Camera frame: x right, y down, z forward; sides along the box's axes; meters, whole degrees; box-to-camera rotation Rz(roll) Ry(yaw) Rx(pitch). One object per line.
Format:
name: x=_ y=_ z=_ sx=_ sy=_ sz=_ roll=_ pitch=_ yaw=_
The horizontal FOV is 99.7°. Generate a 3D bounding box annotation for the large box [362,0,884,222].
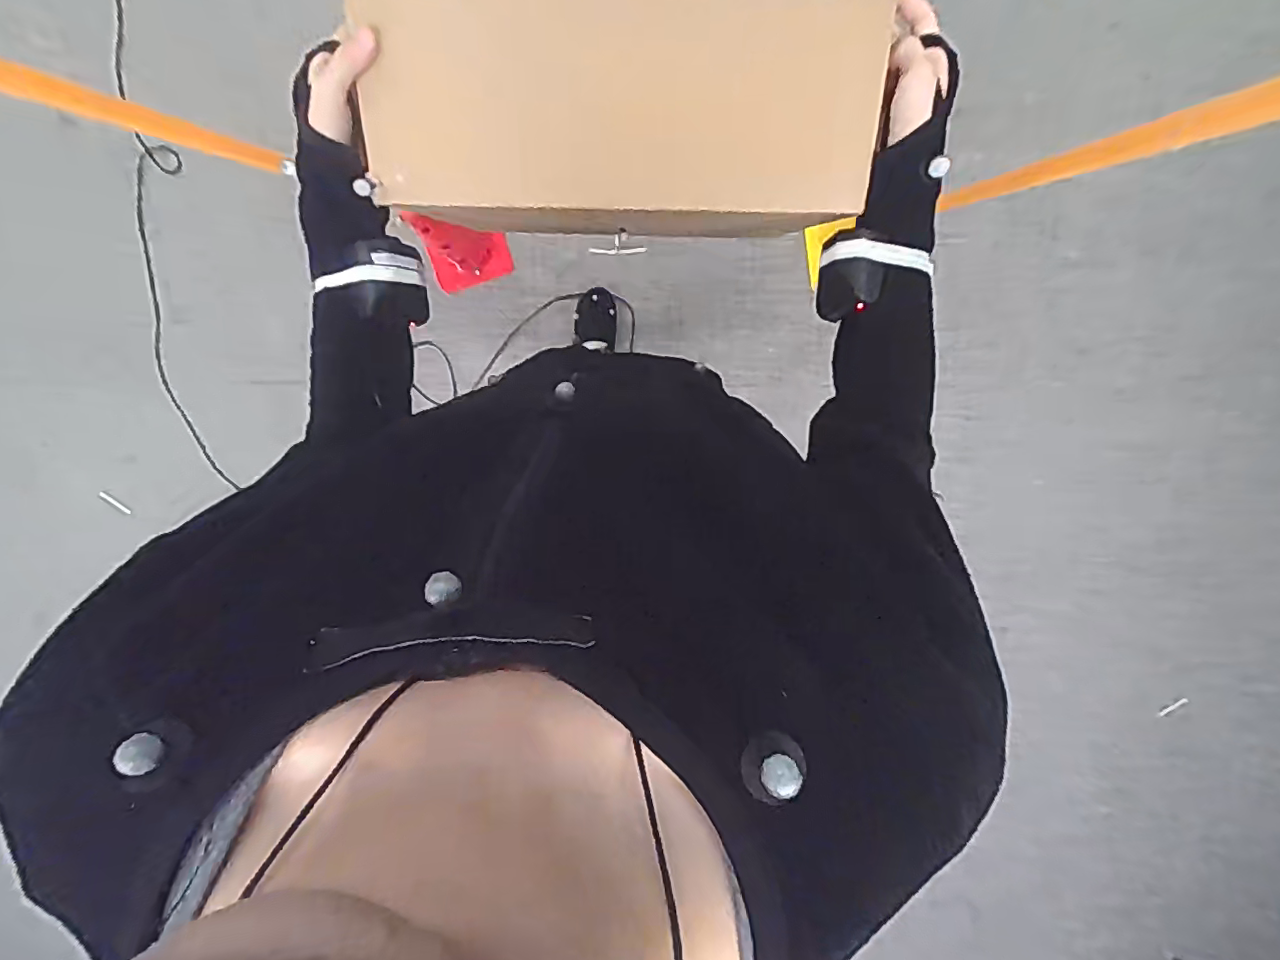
large box: x=-0.010 y=-0.436 z=0.539 sx=0.408 sy=0.320 sz=0.320 roll=1 pitch=111 yaw=-1
